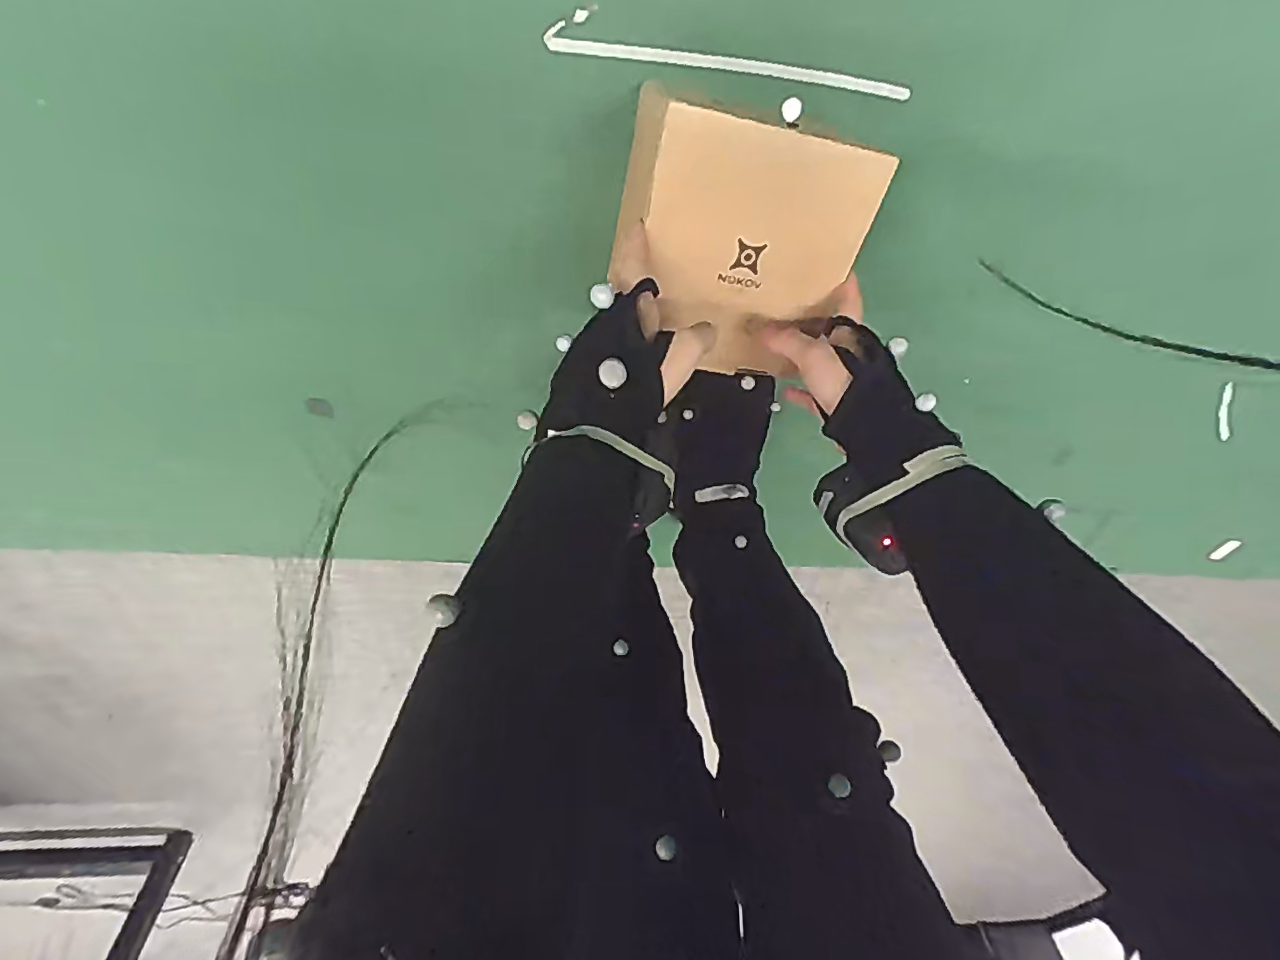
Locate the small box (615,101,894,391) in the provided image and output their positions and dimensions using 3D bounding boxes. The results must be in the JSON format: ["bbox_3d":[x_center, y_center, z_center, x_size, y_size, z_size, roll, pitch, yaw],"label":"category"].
[{"bbox_3d":[0.073,-0.204,0.469,0.168,0.176,0.179,6,130,-11],"label":"small box"}]
